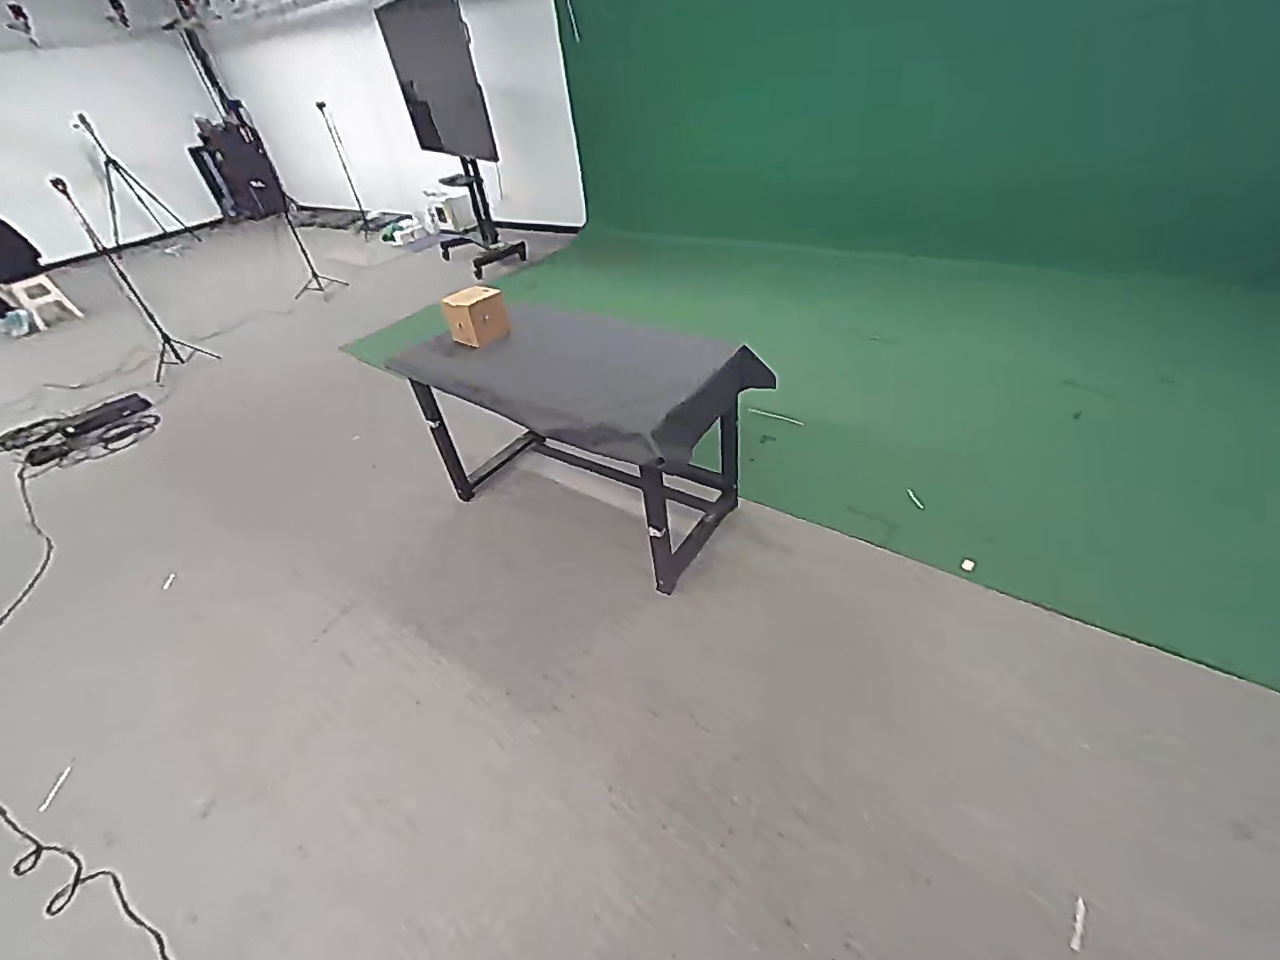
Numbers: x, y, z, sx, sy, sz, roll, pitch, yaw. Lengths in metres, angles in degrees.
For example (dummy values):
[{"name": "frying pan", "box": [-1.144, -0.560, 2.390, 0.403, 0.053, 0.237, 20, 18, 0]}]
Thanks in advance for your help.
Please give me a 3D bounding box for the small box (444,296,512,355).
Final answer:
[{"name": "small box", "box": [-0.643, -0.619, 2.167, 0.168, 0.176, 0.179, 21, 47, 31]}]
